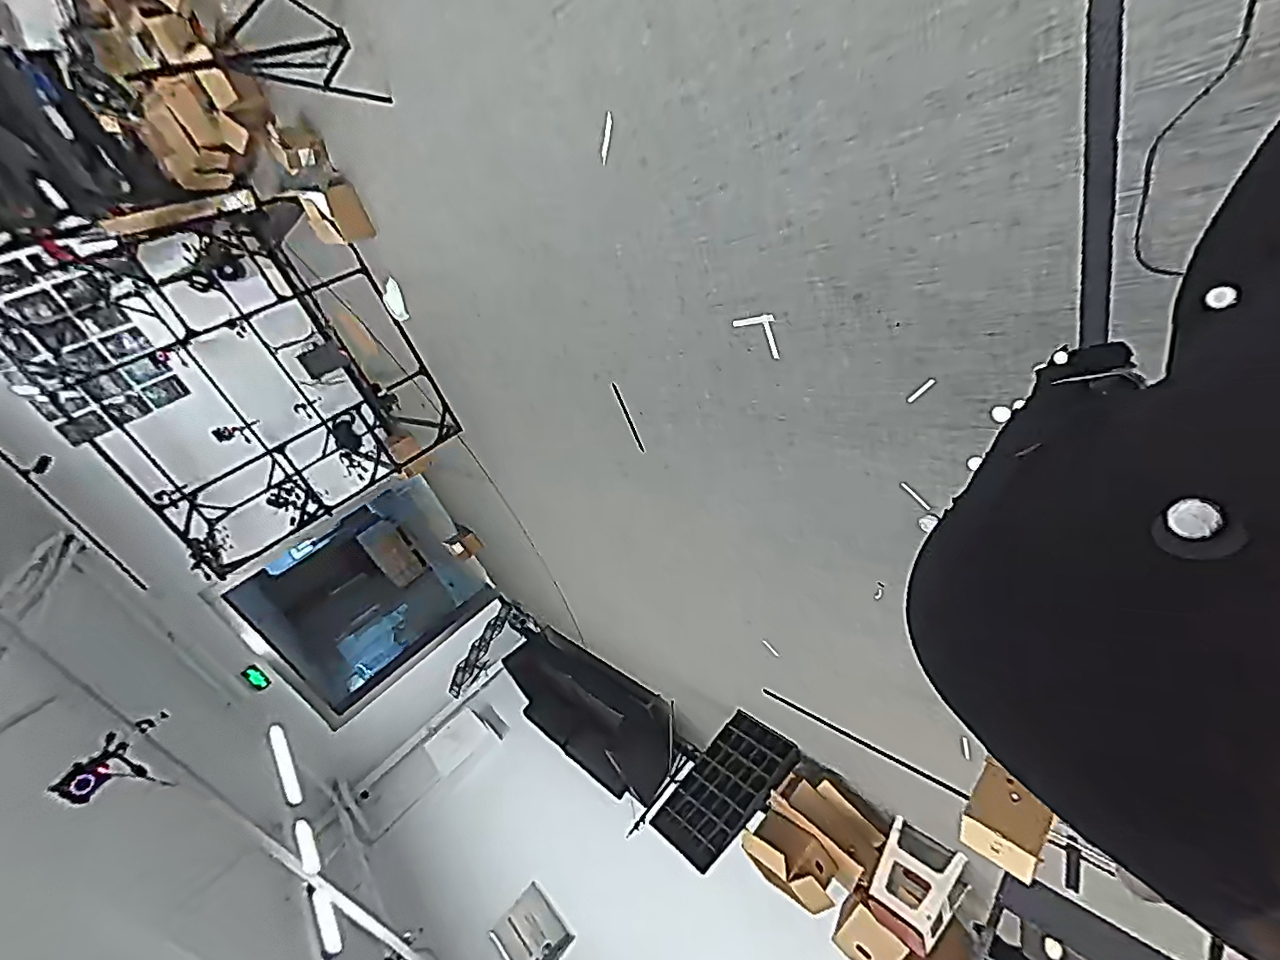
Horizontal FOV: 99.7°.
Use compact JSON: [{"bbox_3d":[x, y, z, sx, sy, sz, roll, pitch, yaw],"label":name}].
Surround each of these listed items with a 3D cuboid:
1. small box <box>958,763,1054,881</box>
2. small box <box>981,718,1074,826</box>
[{"bbox_3d":[0.977,0.909,1.447,0.168,0.176,0.179,20,140,44],"label":"small box"},{"bbox_3d":[1.088,0.813,1.522,0.179,0.176,0.168,19,139,46],"label":"small box"}]
